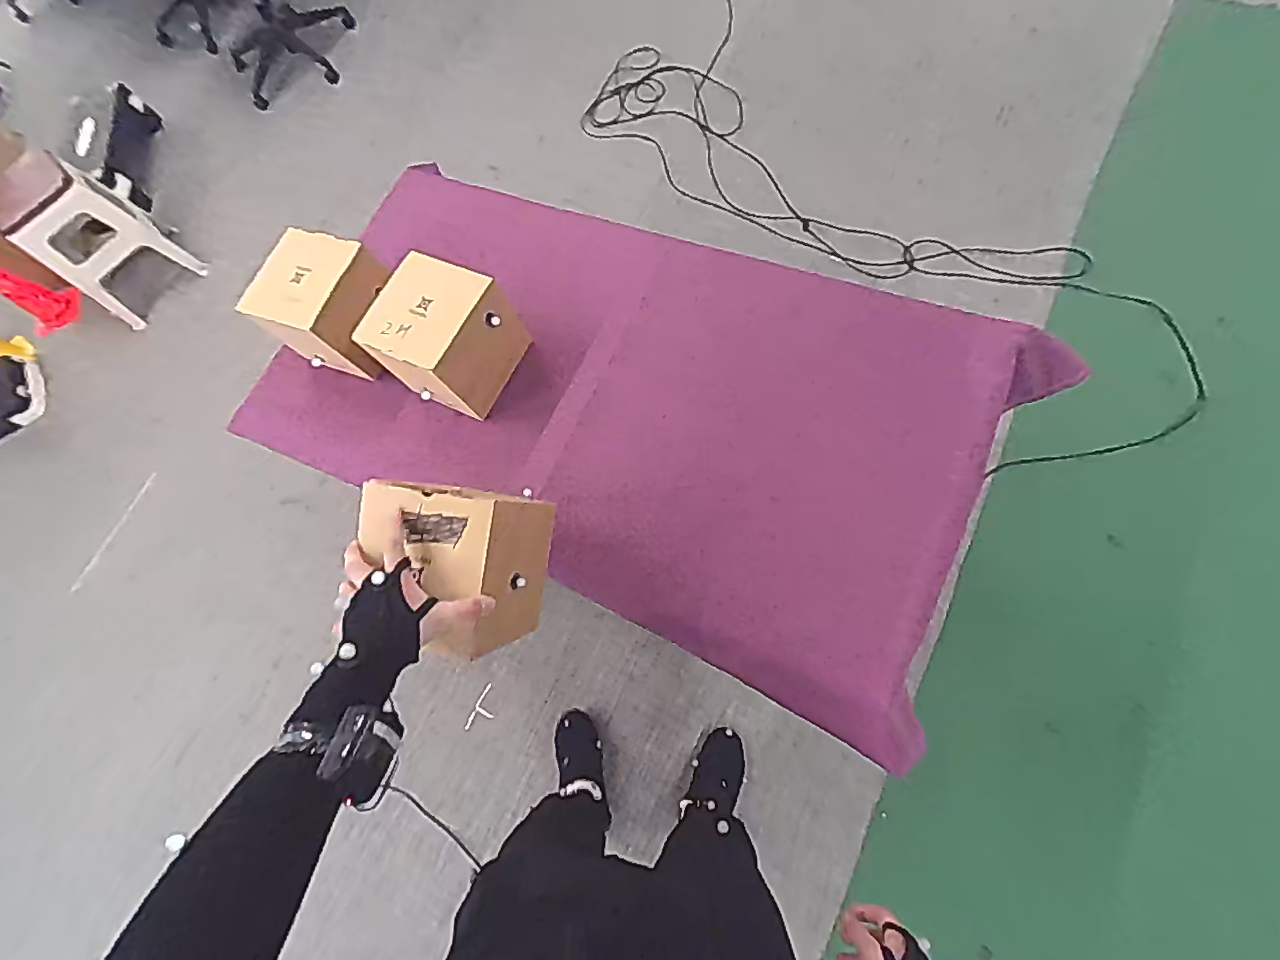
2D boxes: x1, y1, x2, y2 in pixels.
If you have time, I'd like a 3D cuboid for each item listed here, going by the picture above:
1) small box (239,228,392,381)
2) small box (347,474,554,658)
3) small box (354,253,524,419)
[{"bbox_3d":[-0.541,-0.305,0.960,0.168,0.176,0.179,18,76,17],"label":"small box"},{"bbox_3d":[-0.219,0.095,0.667,0.168,0.176,0.179,9,90,15],"label":"small box"},{"bbox_3d":[-0.314,-0.230,0.889,0.168,0.176,0.179,24,78,18],"label":"small box"}]
